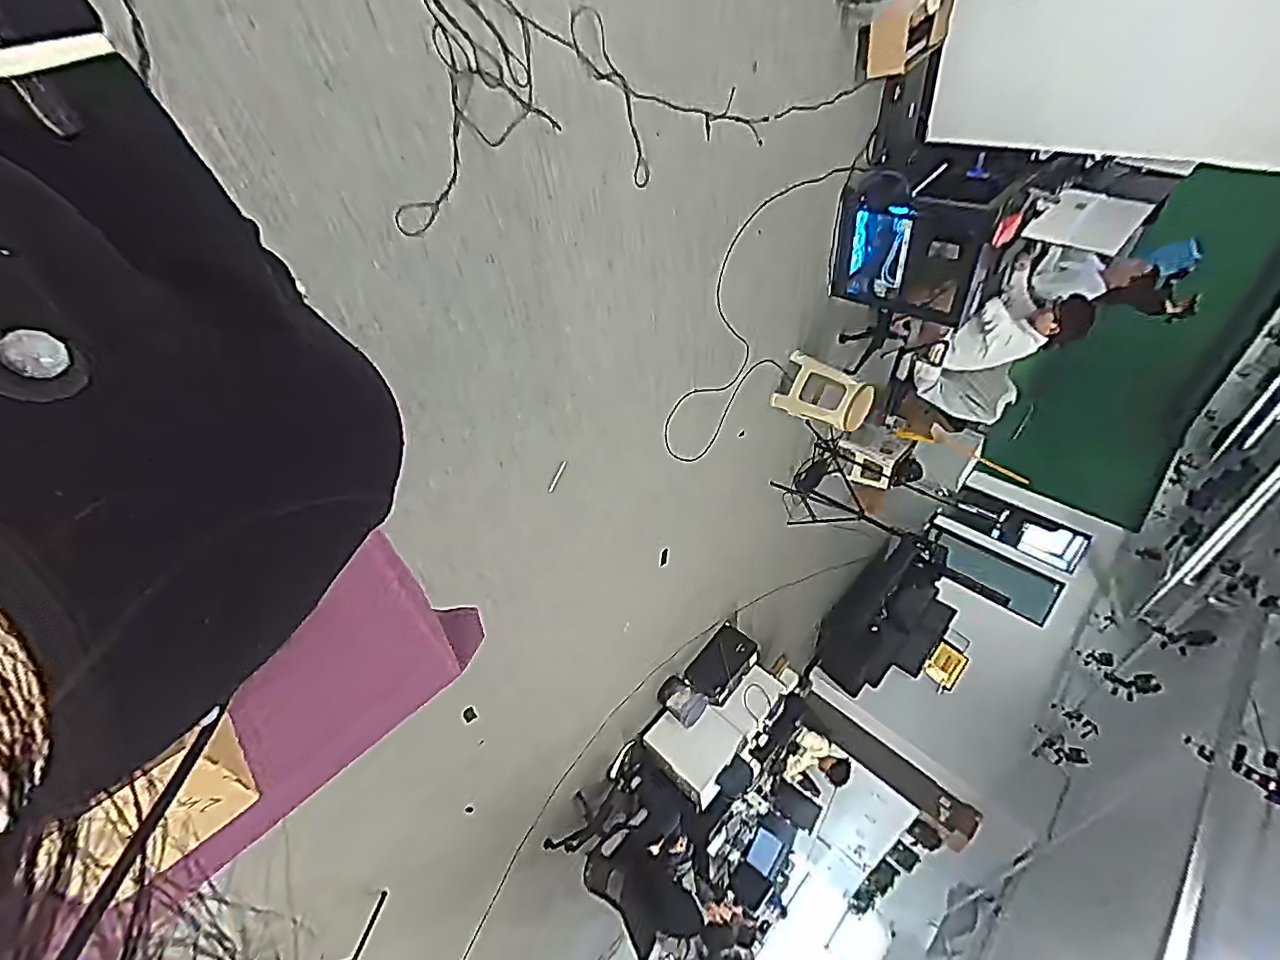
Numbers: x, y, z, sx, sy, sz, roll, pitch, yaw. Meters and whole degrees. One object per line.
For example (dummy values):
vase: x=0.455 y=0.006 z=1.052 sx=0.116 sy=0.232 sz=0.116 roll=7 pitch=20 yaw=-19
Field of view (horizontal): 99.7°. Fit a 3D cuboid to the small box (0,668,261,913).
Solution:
small box: x=-0.634 y=0.382 z=0.686 sx=0.179 sy=0.176 sz=0.168 roll=-35 pitch=139 yaw=-31
